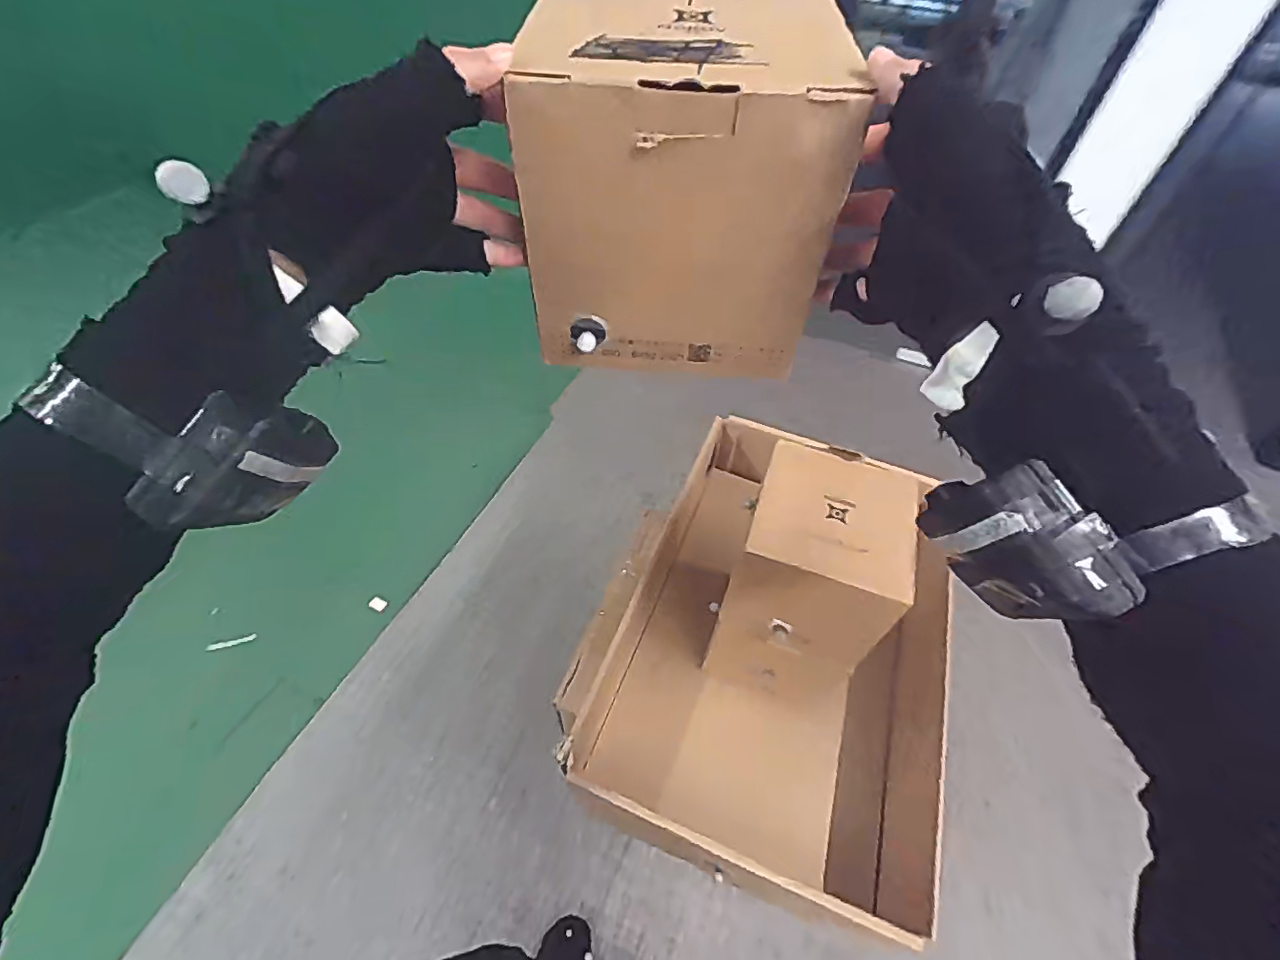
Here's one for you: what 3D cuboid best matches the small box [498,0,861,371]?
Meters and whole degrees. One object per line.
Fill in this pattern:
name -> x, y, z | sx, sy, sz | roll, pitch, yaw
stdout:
small box -> 0.020, -0.190, 0.351 | 0.168, 0.176, 0.179 | 4, 53, 0

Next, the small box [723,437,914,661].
small box -> 0.206, 0.083, 0.646 | 0.168, 0.176, 0.179 | 17, 52, 11
